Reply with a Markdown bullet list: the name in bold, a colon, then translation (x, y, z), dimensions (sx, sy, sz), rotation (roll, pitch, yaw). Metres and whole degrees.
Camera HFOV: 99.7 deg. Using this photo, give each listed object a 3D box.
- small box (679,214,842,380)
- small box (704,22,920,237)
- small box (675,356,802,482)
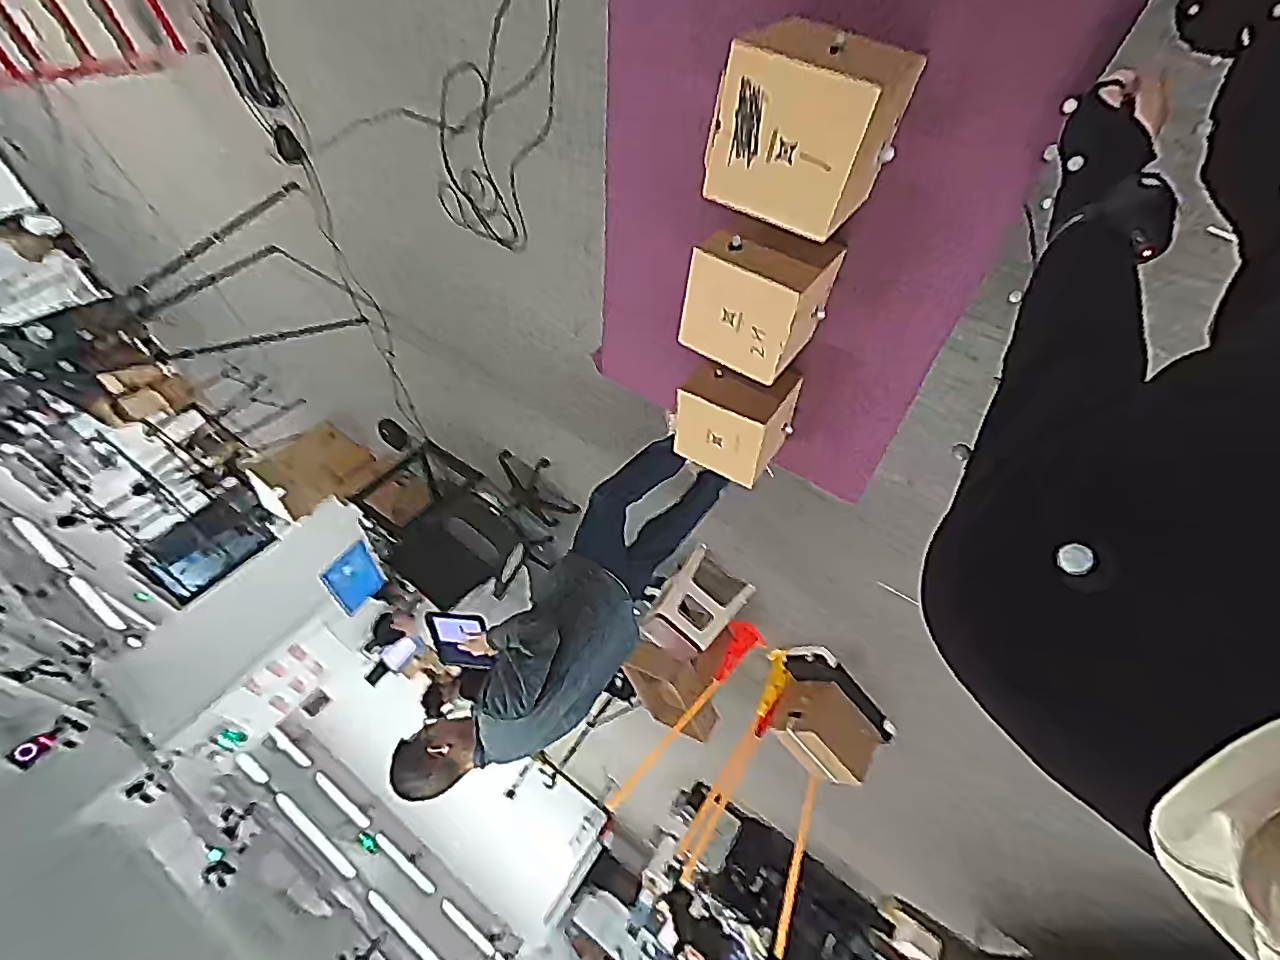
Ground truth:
- **small box**: translation (0.187, -0.296, 0.858), dimensions (0.179, 0.176, 0.168), rotation (30, 145, 17)
- **small box**: translation (0.209, -0.440, 0.673), dimensions (0.179, 0.176, 0.168), rotation (31, 145, 15)
- **small box**: translation (0.187, -0.133, 1.046), dimensions (0.179, 0.176, 0.168), rotation (26, 144, 21)
